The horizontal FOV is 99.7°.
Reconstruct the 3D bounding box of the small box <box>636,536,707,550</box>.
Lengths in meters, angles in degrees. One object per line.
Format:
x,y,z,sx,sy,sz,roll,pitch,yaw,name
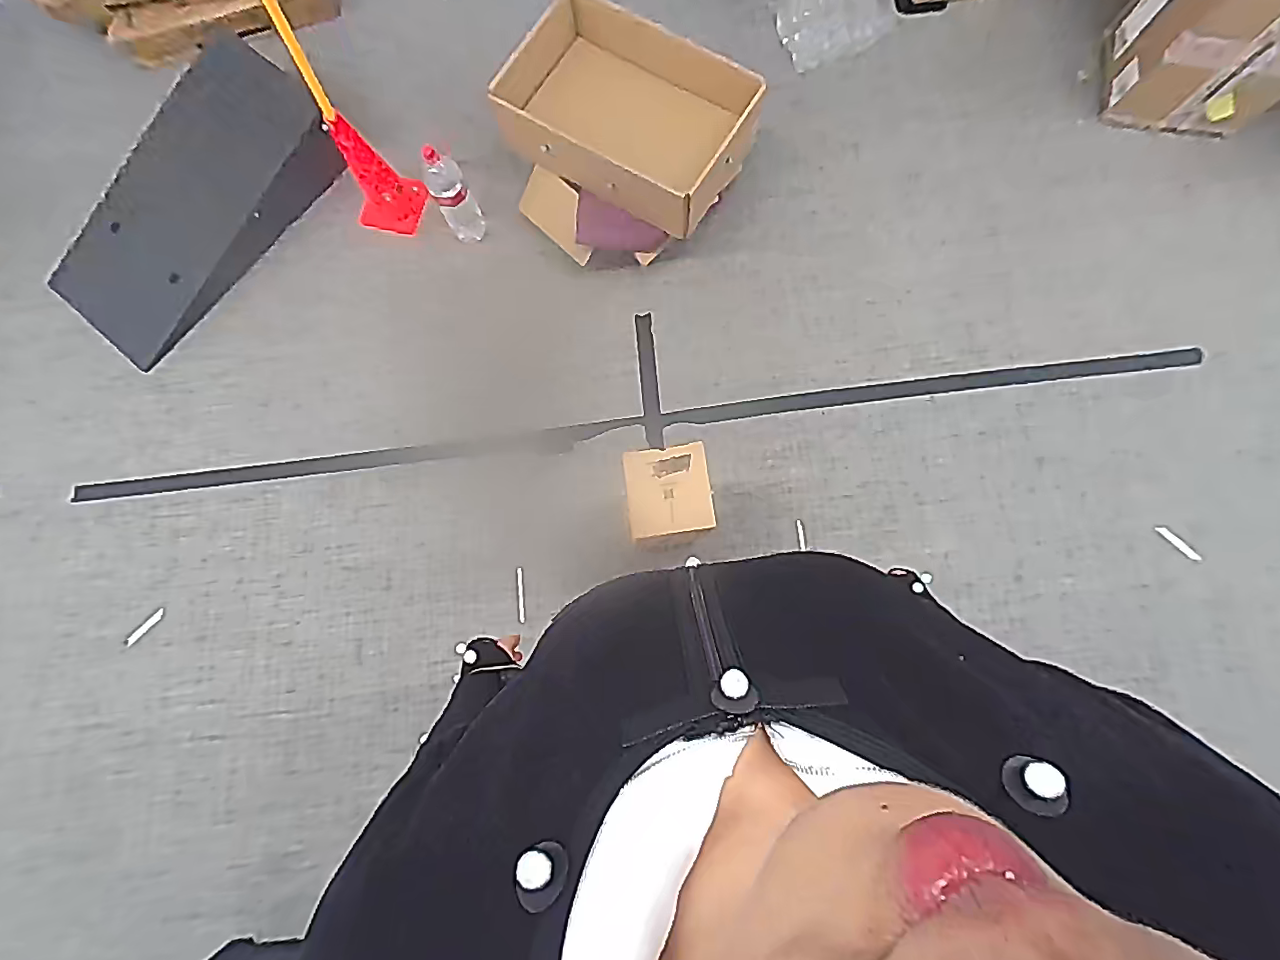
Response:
0.065,0.067,1.299,0.168,0.176,0.179,-8,78,1,small box

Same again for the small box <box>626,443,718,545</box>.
0.063,0.035,1.137,0.168,0.176,0.179,-8,80,1,small box
